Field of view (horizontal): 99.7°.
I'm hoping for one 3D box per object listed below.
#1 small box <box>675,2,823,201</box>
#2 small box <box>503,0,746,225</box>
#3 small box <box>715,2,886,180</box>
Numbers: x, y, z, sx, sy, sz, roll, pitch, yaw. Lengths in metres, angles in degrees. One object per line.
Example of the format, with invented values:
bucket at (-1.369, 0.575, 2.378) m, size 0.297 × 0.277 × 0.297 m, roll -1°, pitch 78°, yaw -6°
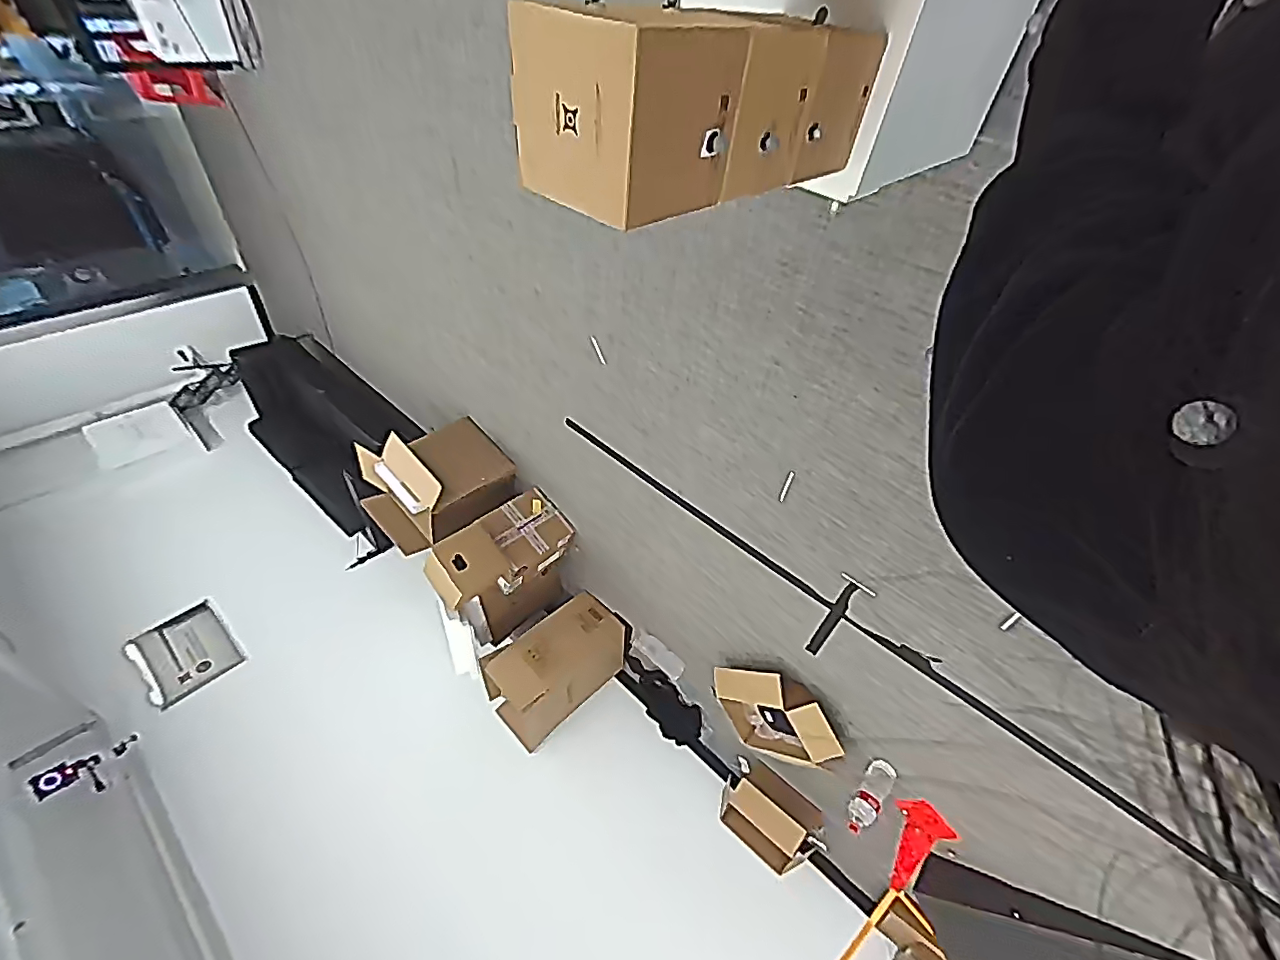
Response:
small box at (0.093, -0.469, 0.664) m, size 0.179 × 0.176 × 0.168 m, roll 36°, pitch 141°, yaw 26°
small box at (-0.018, -0.394, 0.571) m, size 0.179 × 0.176 × 0.168 m, roll 35°, pitch 141°, yaw 26°
small box at (0.202, -0.545, 0.756) m, size 0.179 × 0.176 × 0.168 m, roll 38°, pitch 143°, yaw 26°
